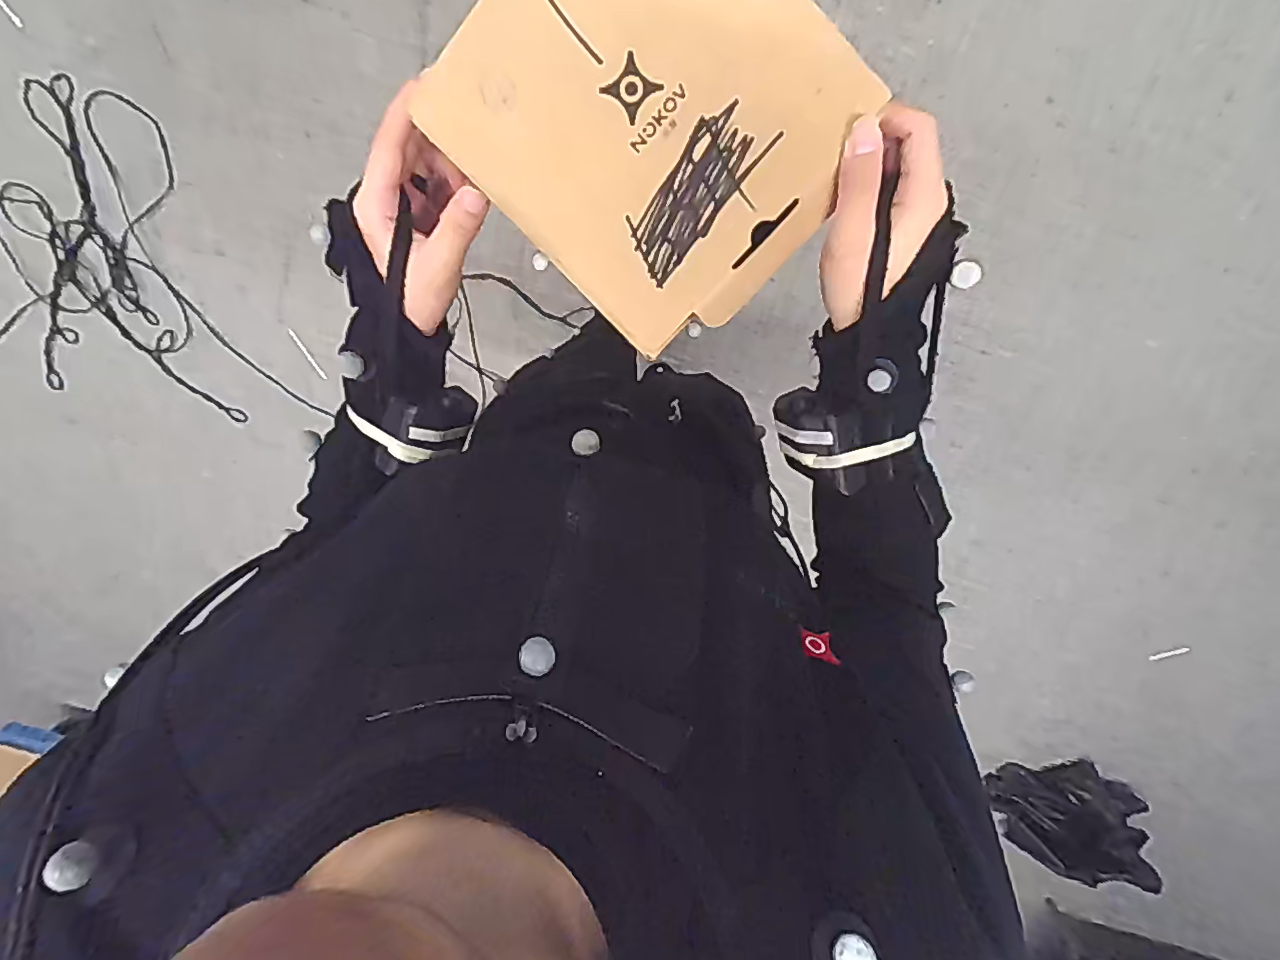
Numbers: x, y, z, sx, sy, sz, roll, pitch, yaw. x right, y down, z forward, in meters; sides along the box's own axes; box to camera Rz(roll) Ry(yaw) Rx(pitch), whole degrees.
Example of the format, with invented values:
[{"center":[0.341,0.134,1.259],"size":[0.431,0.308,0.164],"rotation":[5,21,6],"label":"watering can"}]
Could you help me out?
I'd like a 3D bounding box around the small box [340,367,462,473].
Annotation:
[{"center":[-0.561,-0.152,1.295],"size":[0.179,0.176,0.168],"rotation":[39,108,-9],"label":"small box"}]
